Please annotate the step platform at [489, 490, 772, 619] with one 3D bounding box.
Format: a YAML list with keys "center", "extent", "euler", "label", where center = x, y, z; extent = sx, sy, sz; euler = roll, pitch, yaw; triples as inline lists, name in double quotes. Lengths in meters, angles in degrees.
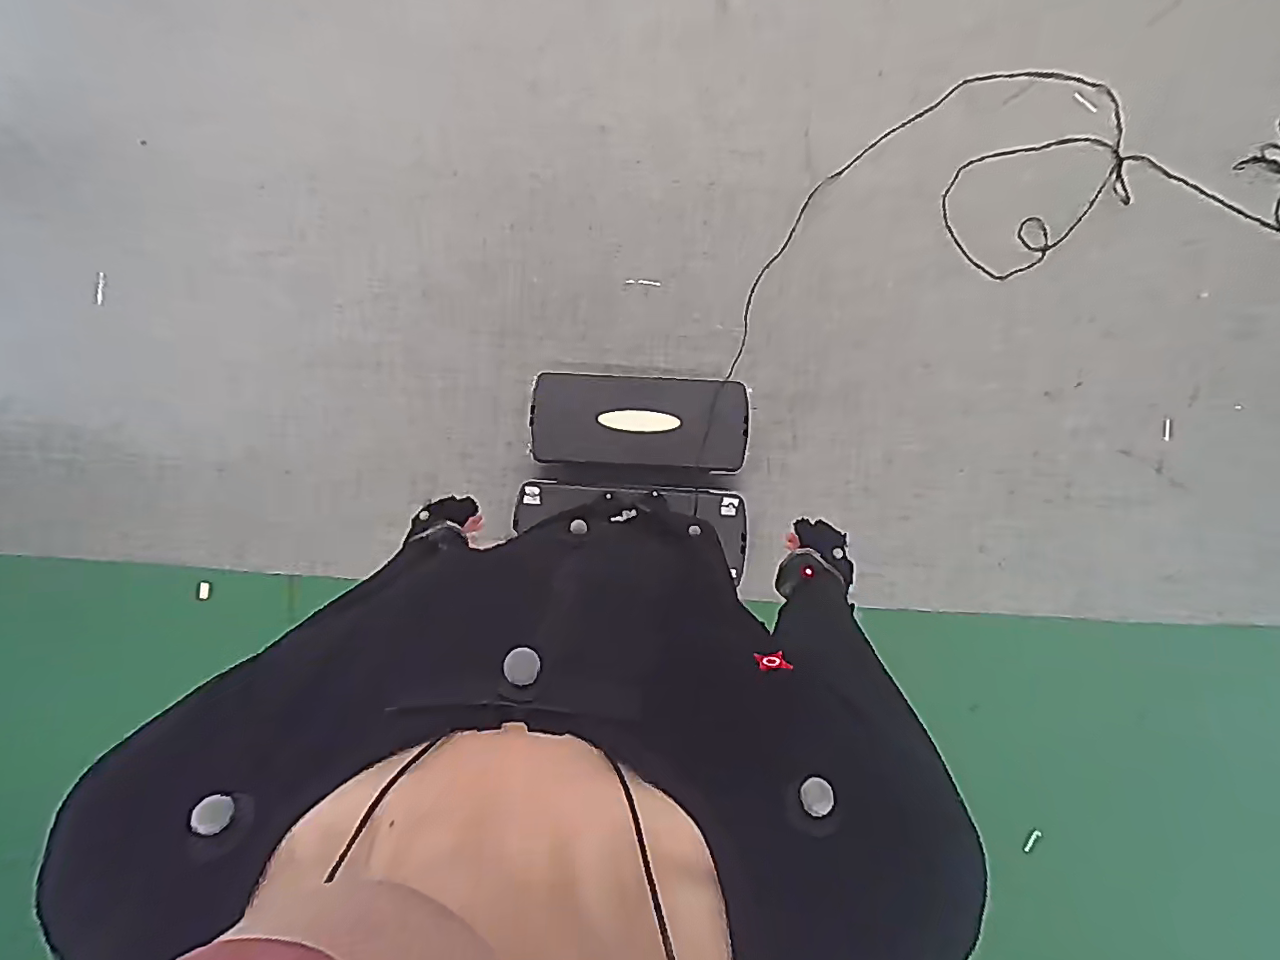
- center: [-0.023, 0.183, 1.395]
  extent: [0.684, 0.204, 0.286]
  euler: [3, 87, -1]
  label: "step platform"
